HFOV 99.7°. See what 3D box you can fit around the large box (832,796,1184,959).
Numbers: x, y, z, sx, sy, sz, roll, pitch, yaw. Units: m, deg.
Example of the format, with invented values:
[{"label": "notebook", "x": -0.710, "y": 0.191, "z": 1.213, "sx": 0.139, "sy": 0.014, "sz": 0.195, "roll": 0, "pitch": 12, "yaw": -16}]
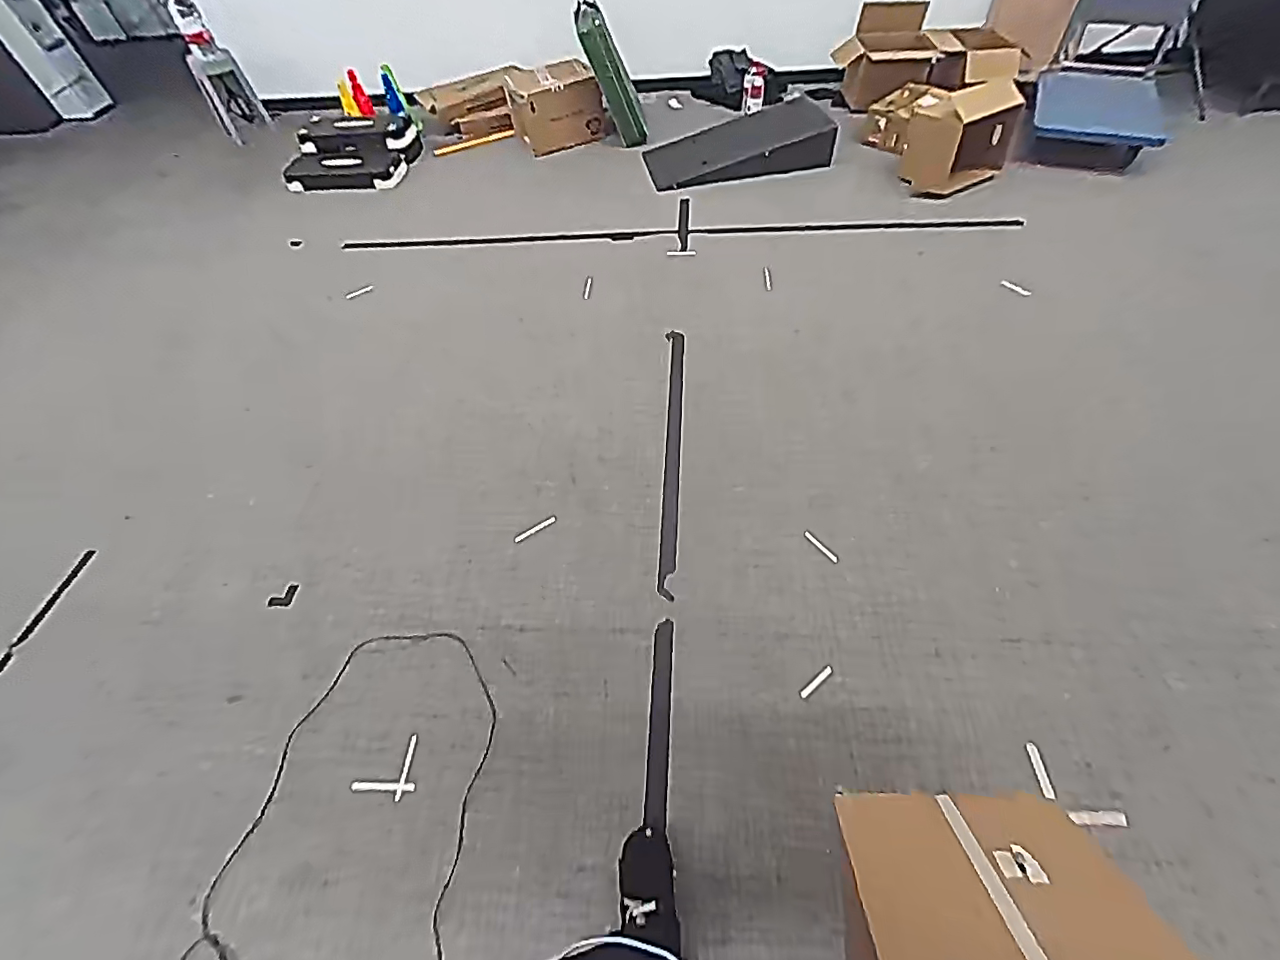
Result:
[{"label": "large box", "x": 0.435, "y": 0.654, "z": 0.640, "sx": 0.320, "sy": 0.408, "sz": 0.320, "roll": -3, "pitch": 93, "yaw": 9}]
